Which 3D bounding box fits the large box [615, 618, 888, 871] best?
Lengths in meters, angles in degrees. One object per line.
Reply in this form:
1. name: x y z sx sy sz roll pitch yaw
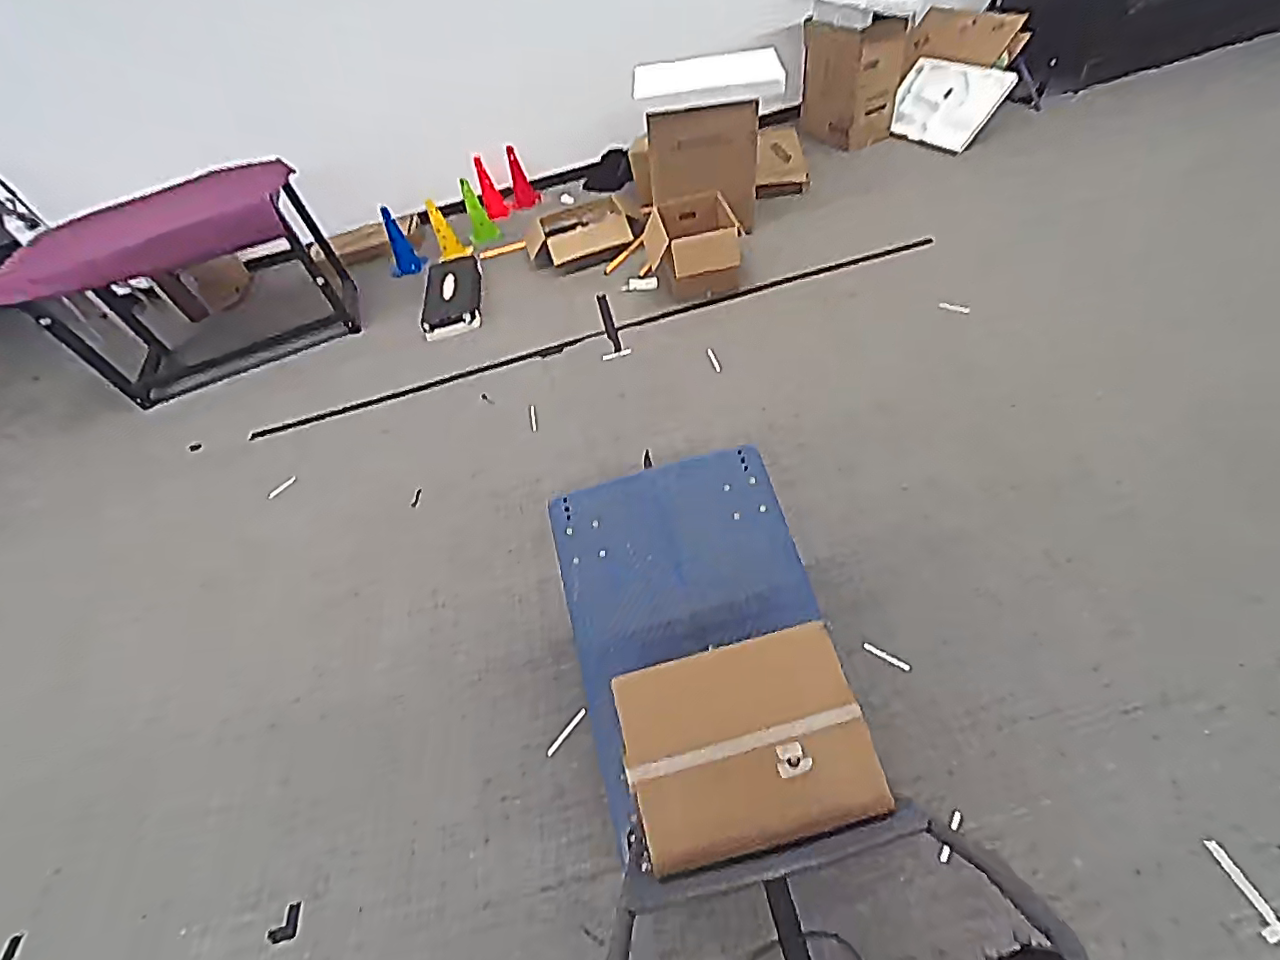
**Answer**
1. large box: 0.192 0.501 1.076 0.408 0.320 0.320 -16 69 -2
